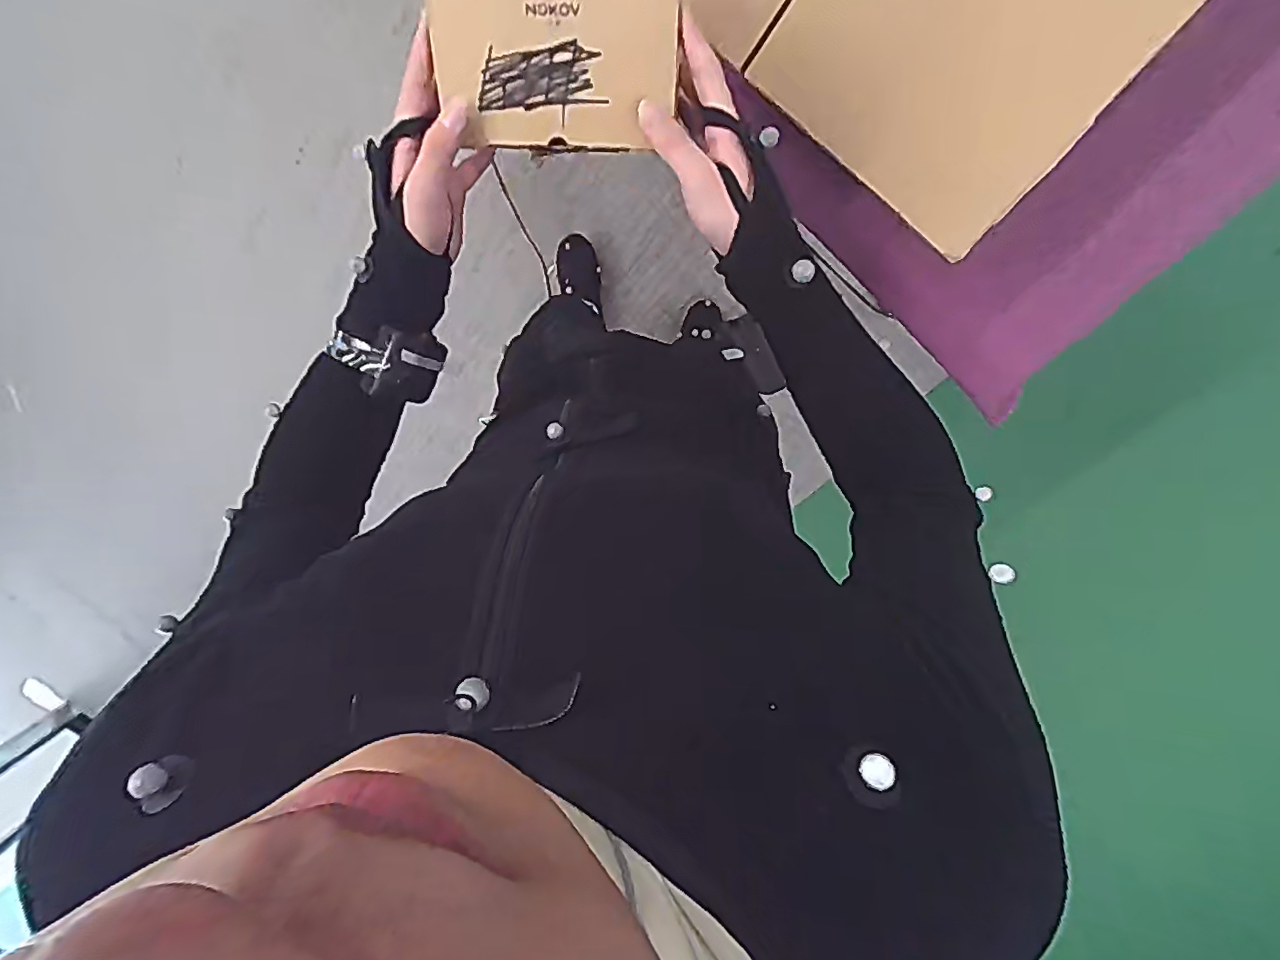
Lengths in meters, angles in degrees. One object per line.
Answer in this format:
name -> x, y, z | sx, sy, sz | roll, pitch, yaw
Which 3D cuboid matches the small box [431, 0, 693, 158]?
small box -> -0.045, -0.347, 0.405 | 0.168, 0.176, 0.179 | 4, 120, 3
